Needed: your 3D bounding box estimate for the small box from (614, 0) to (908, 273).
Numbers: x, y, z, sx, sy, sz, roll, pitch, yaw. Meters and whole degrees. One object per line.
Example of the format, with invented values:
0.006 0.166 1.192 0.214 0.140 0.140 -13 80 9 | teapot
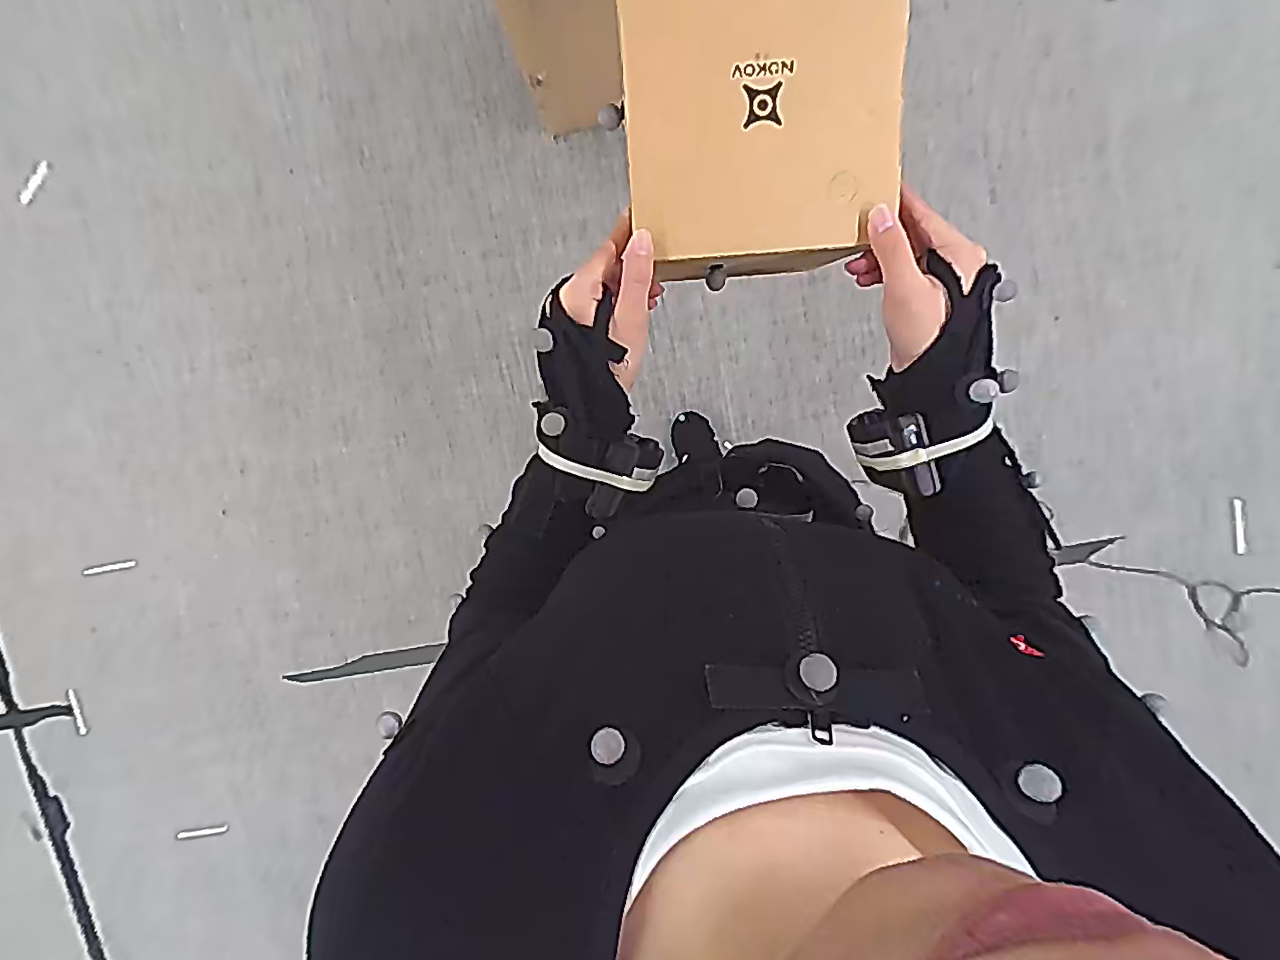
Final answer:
0.072 -0.251 0.391 0.168 0.176 0.179 -3 104 2 | small box
